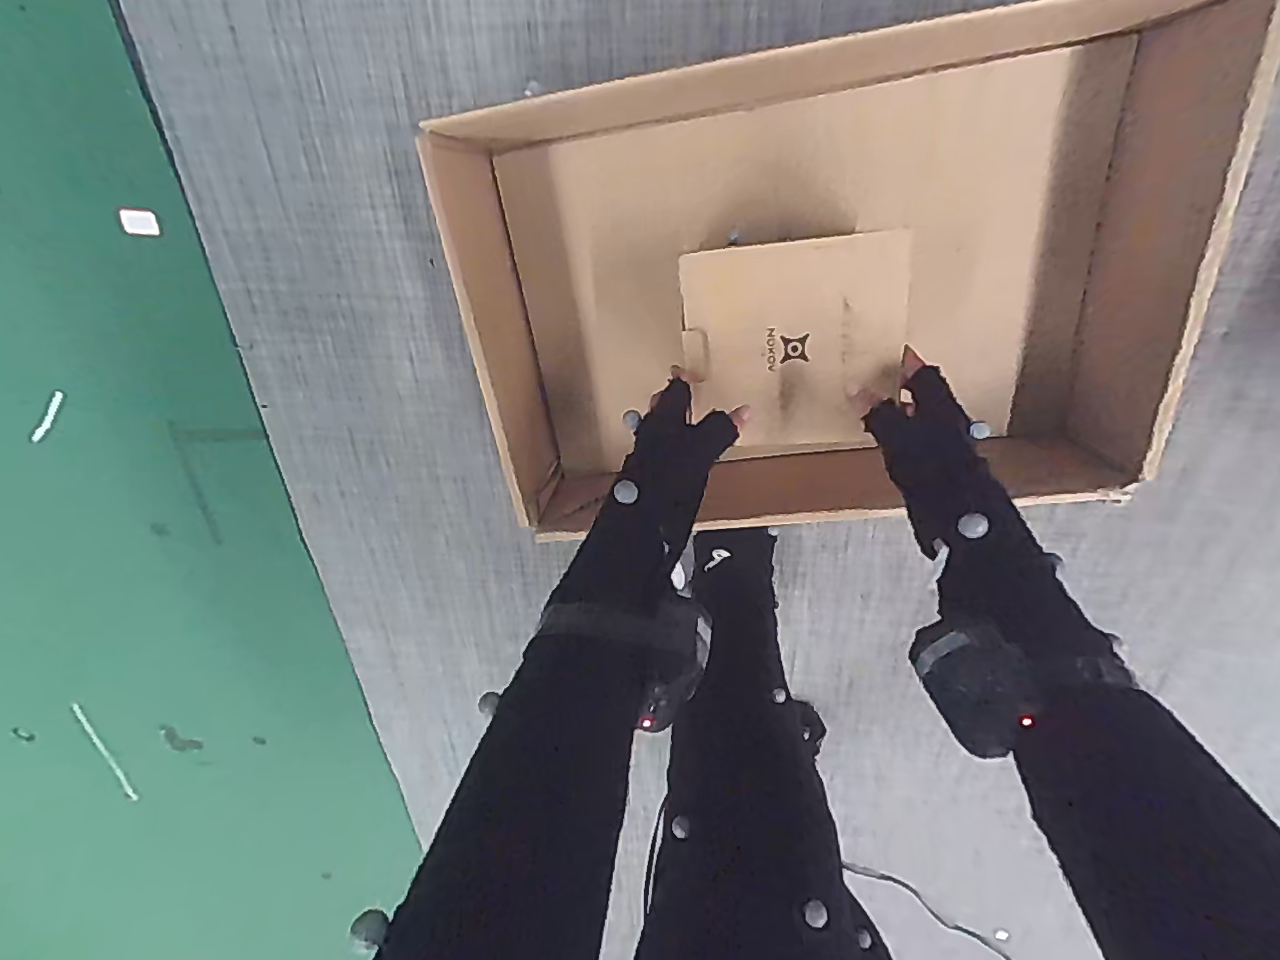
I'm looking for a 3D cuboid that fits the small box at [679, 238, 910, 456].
[{"bbox_3d":[0.139,-0.127,0.518,0.179,0.176,0.168,-3,110,12],"label":"small box"}]
